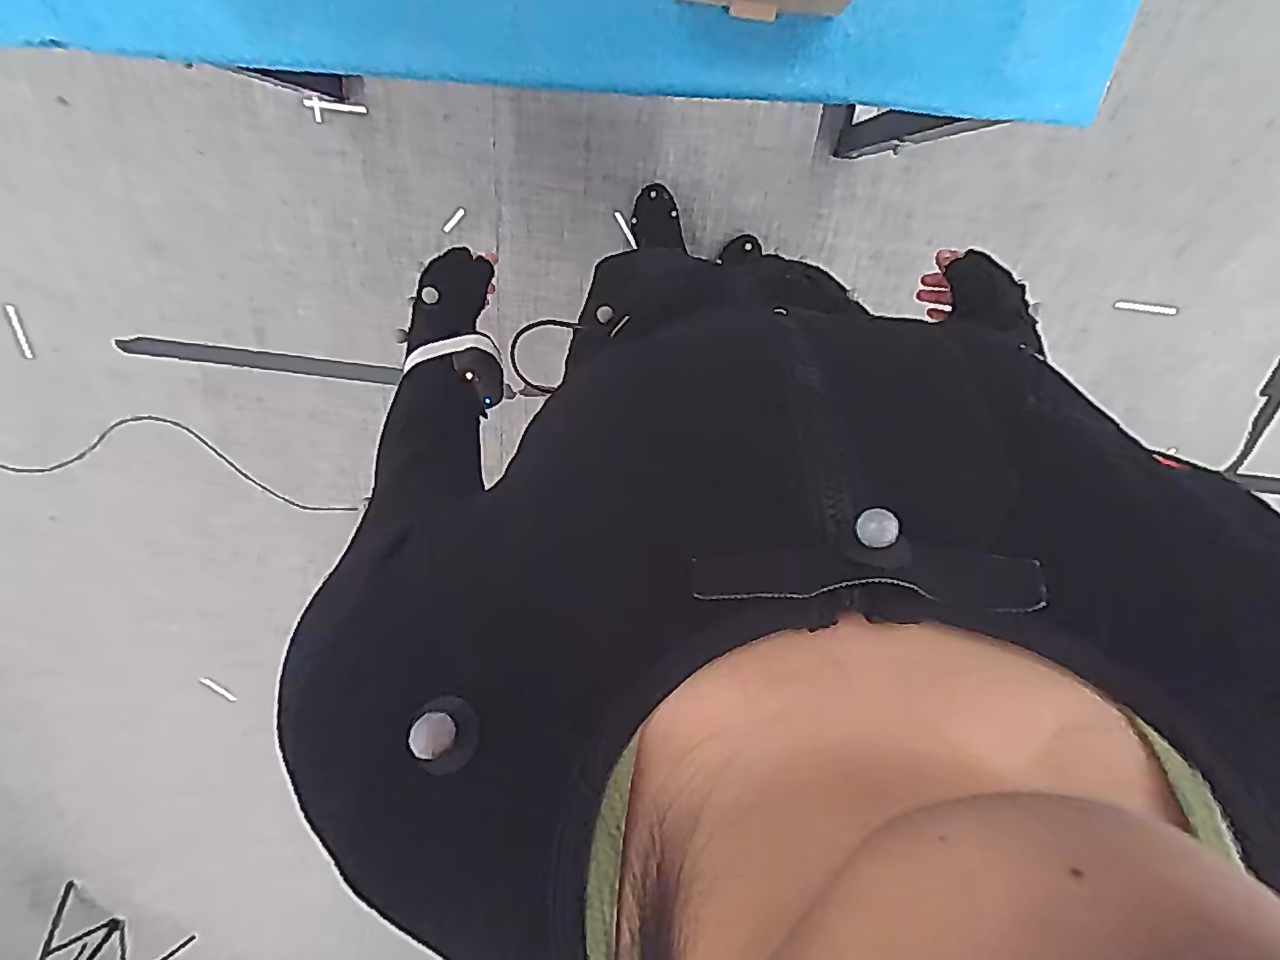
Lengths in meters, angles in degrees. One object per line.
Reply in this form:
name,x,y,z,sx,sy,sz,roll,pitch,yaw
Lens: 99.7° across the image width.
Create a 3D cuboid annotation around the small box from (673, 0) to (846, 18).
small box,0.113,-0.501,0.418,0.168,0.176,0.179,5,117,-1
